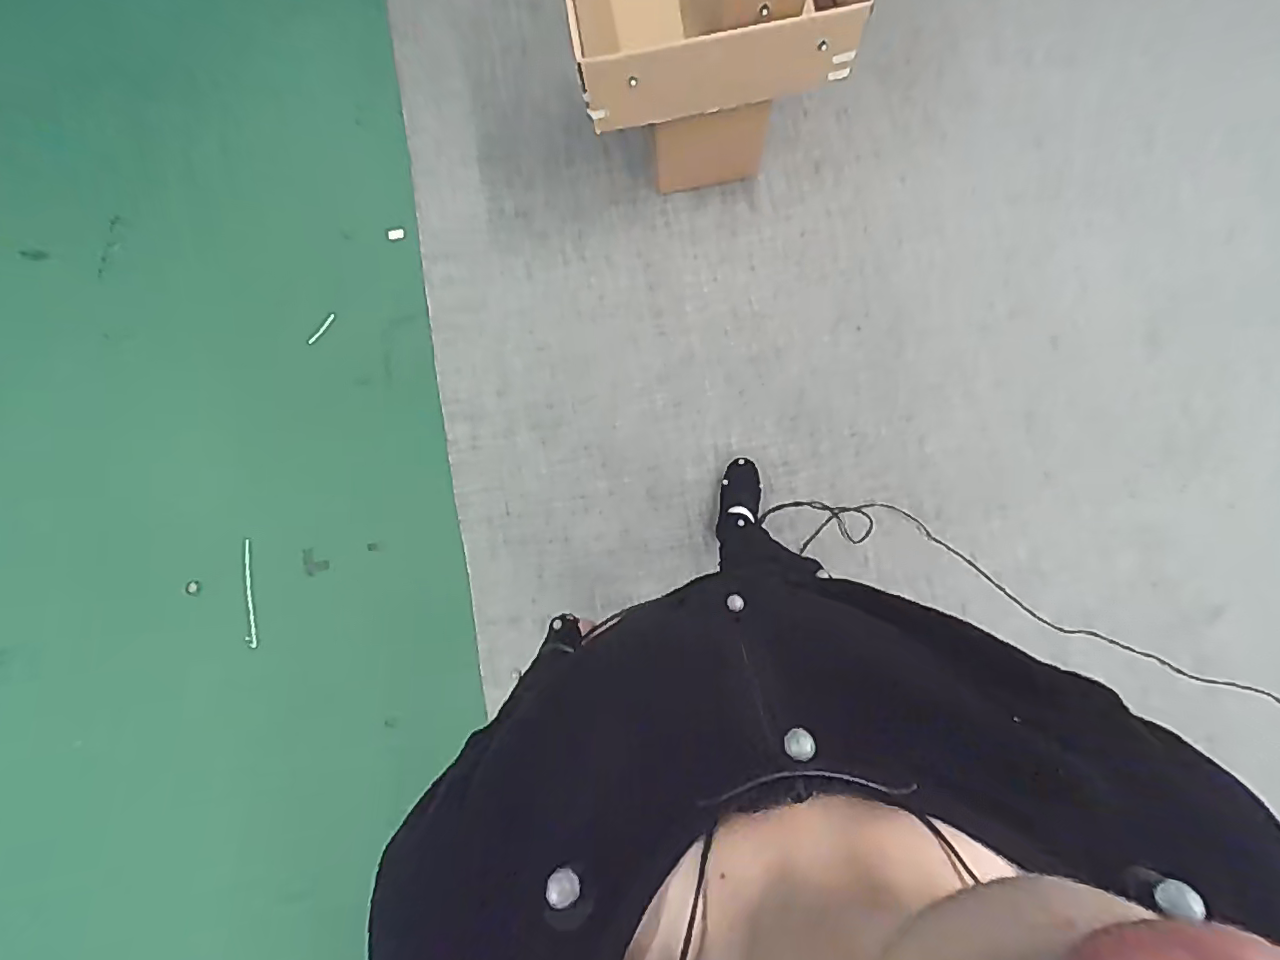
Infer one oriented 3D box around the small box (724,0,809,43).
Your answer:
[{"bbox_3d":[0.271,-1.078,1.153,0.168,0.176,0.179,-4,83,4],"label":"small box"}]
